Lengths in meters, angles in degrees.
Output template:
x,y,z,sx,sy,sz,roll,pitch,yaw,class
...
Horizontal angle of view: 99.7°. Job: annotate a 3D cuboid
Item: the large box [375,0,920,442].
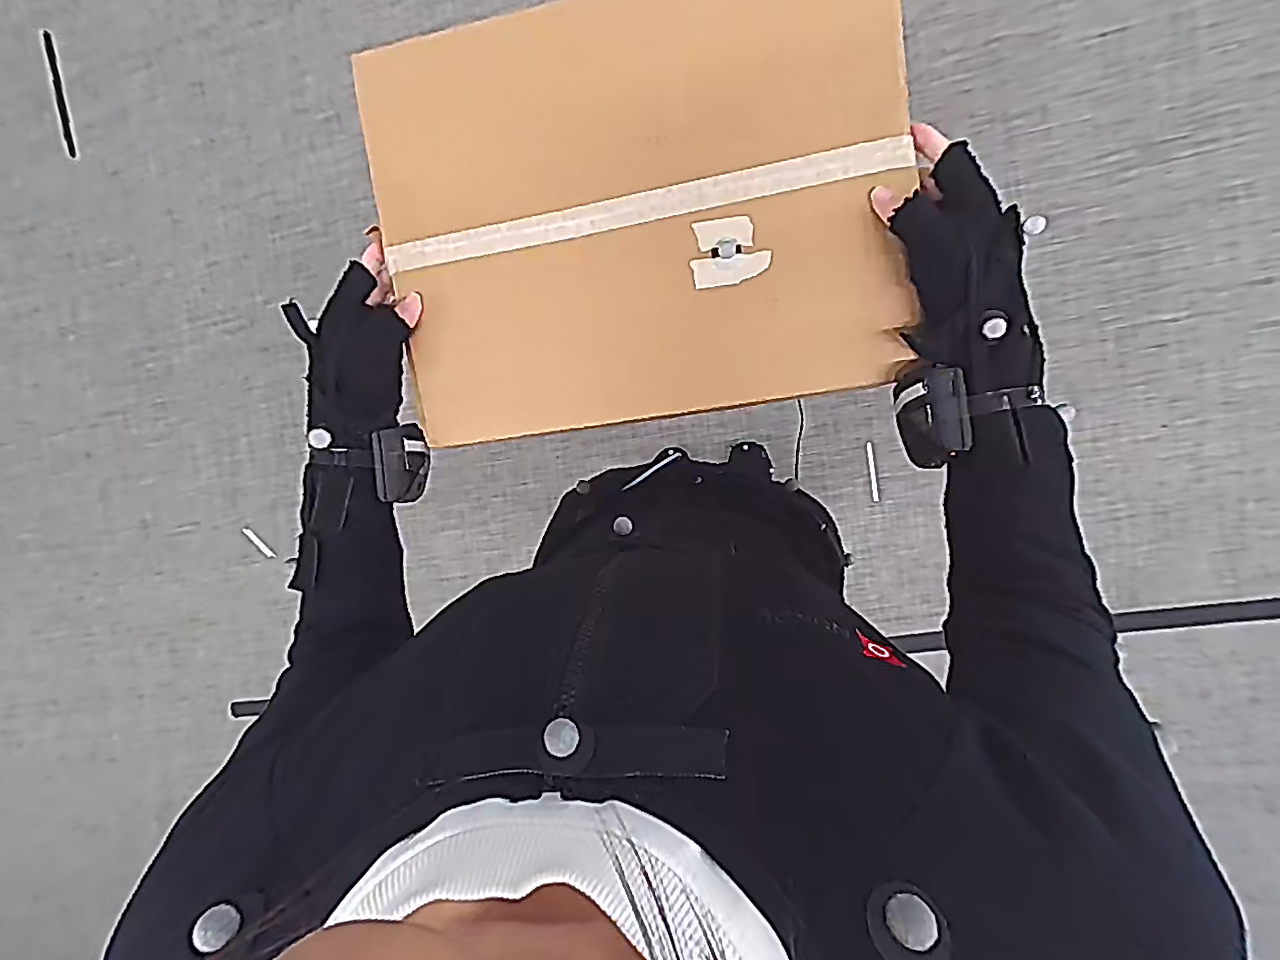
x,y,z,sx,sy,sz,roll,pitch,yaw,class
0.016,-0.228,0.573,0.408,0.320,0.320,-8,97,8,large box
